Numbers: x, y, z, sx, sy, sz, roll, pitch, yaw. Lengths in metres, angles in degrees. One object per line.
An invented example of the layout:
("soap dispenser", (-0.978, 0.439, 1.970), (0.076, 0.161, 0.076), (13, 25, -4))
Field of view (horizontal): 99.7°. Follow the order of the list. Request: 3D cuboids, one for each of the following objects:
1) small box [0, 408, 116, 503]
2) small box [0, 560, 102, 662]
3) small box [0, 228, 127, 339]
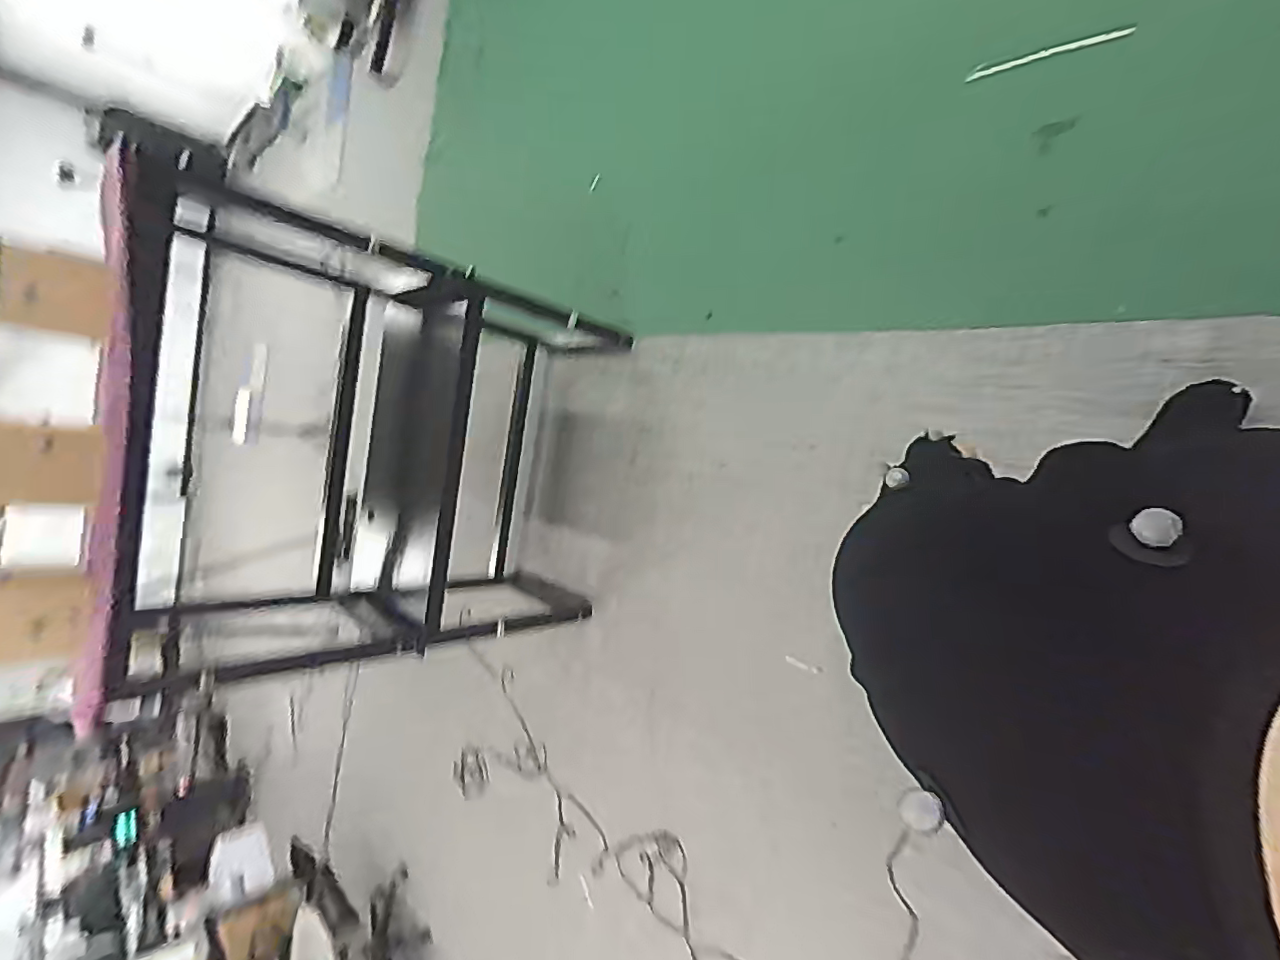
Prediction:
("small box", (-1.229, -0.050, 1.139), (0.168, 0.176, 0.179), (11, 95, 43))
("small box", (-1.274, 0.268, 1.152), (0.179, 0.176, 0.168), (11, 93, 42))
("small box", (-1.196, -0.398, 1.130), (0.168, 0.176, 0.179), (14, 97, 44))
